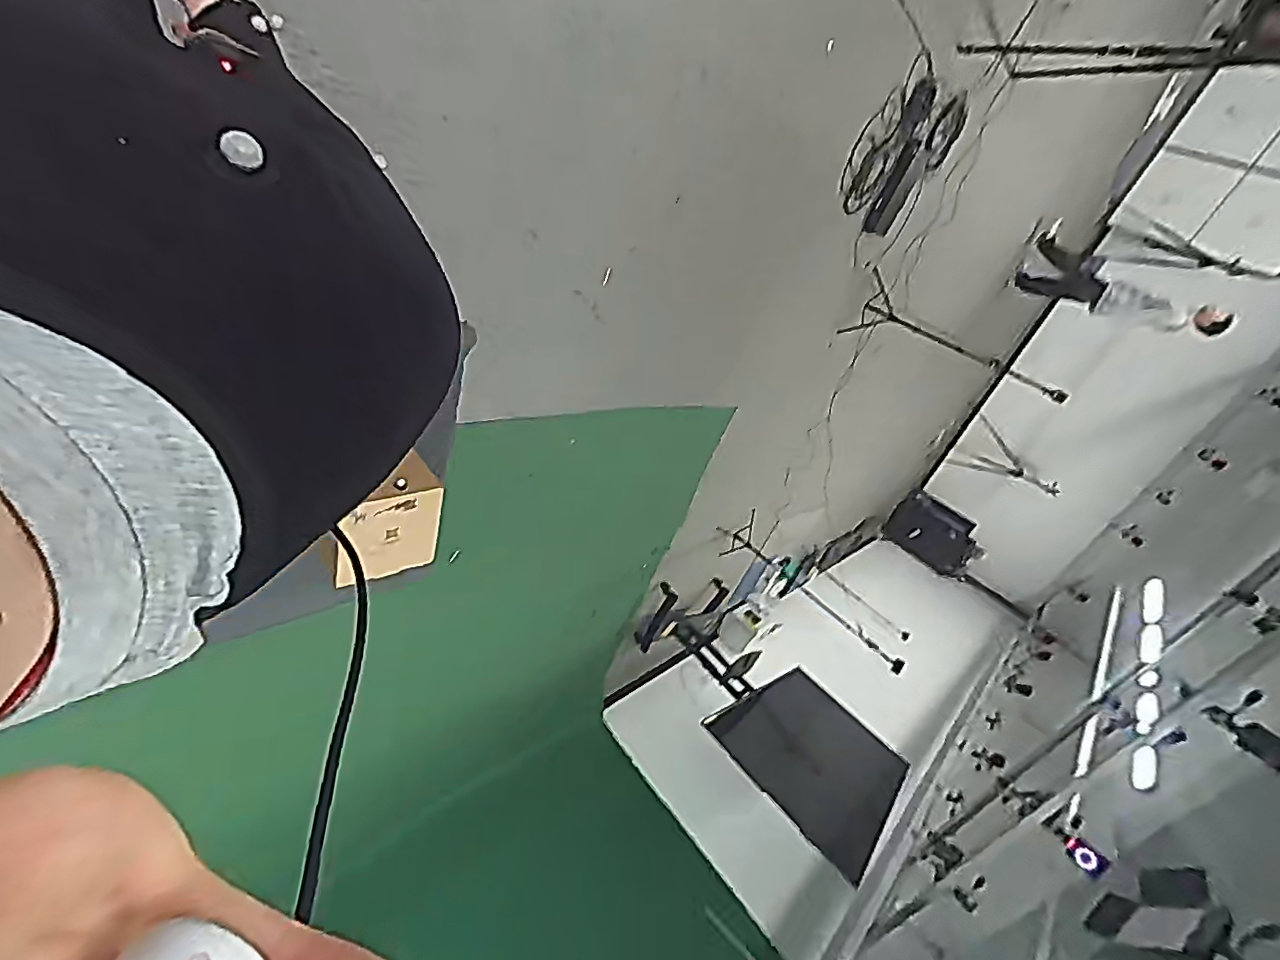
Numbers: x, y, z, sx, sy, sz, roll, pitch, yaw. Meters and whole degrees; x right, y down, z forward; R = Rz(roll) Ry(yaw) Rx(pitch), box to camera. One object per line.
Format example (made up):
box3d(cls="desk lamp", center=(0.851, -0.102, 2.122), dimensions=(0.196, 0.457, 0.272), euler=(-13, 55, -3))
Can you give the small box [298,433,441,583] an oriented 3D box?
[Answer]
box3d(cls="small box", center=(-0.472, 0.042, 0.937), dimensions=(0.168, 0.176, 0.179), euler=(-16, 138, -45))
